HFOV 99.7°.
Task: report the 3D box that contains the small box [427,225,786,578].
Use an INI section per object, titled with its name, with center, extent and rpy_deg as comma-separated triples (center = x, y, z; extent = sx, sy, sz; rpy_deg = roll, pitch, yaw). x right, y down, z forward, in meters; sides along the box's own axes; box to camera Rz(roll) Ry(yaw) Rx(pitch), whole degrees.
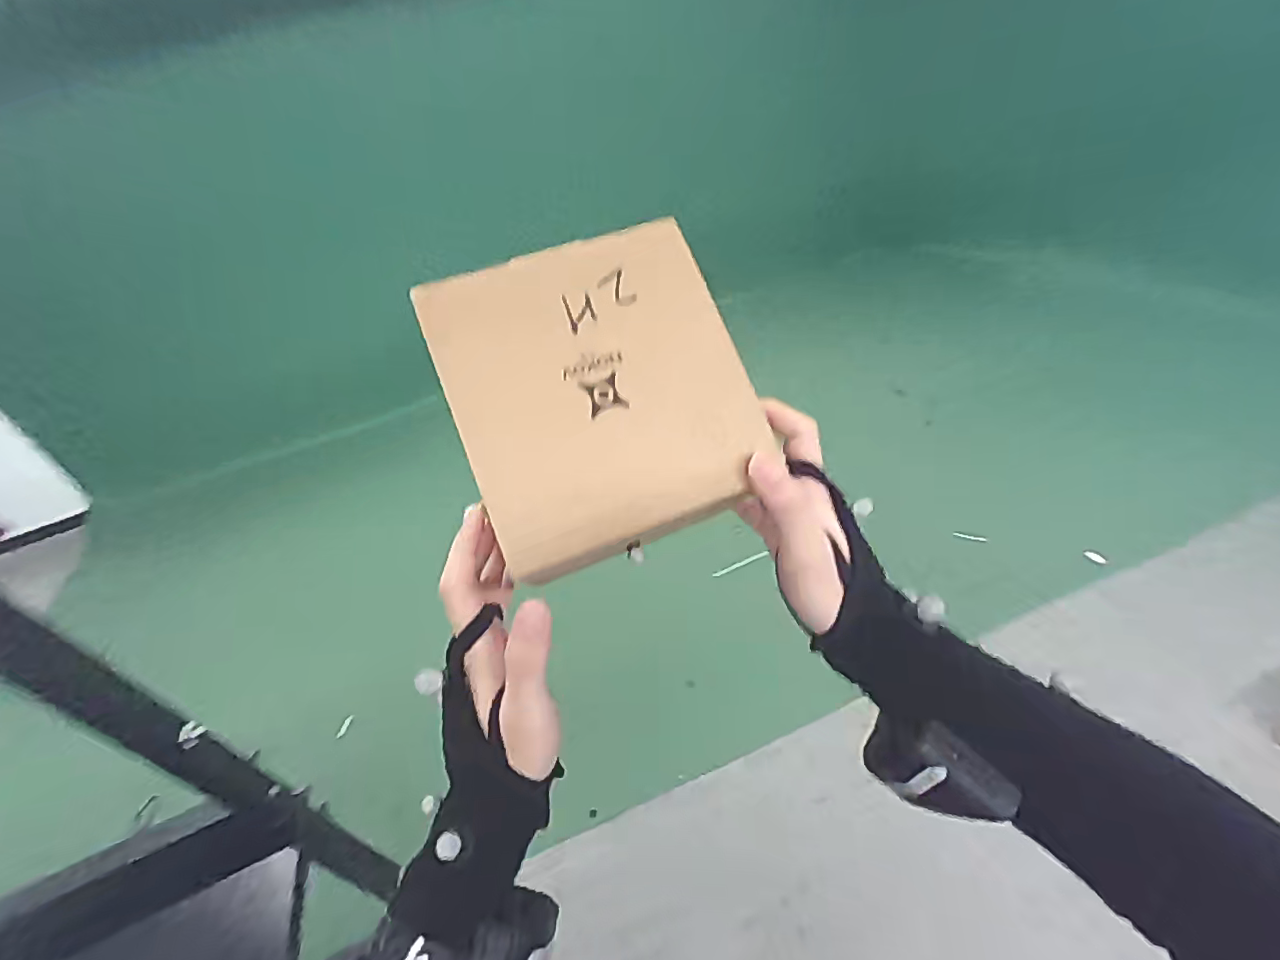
[small box]
center = -0.027, -0.038, 0.386
extent = 0.168, 0.176, 0.179
rpy_deg = -19, 80, -11
